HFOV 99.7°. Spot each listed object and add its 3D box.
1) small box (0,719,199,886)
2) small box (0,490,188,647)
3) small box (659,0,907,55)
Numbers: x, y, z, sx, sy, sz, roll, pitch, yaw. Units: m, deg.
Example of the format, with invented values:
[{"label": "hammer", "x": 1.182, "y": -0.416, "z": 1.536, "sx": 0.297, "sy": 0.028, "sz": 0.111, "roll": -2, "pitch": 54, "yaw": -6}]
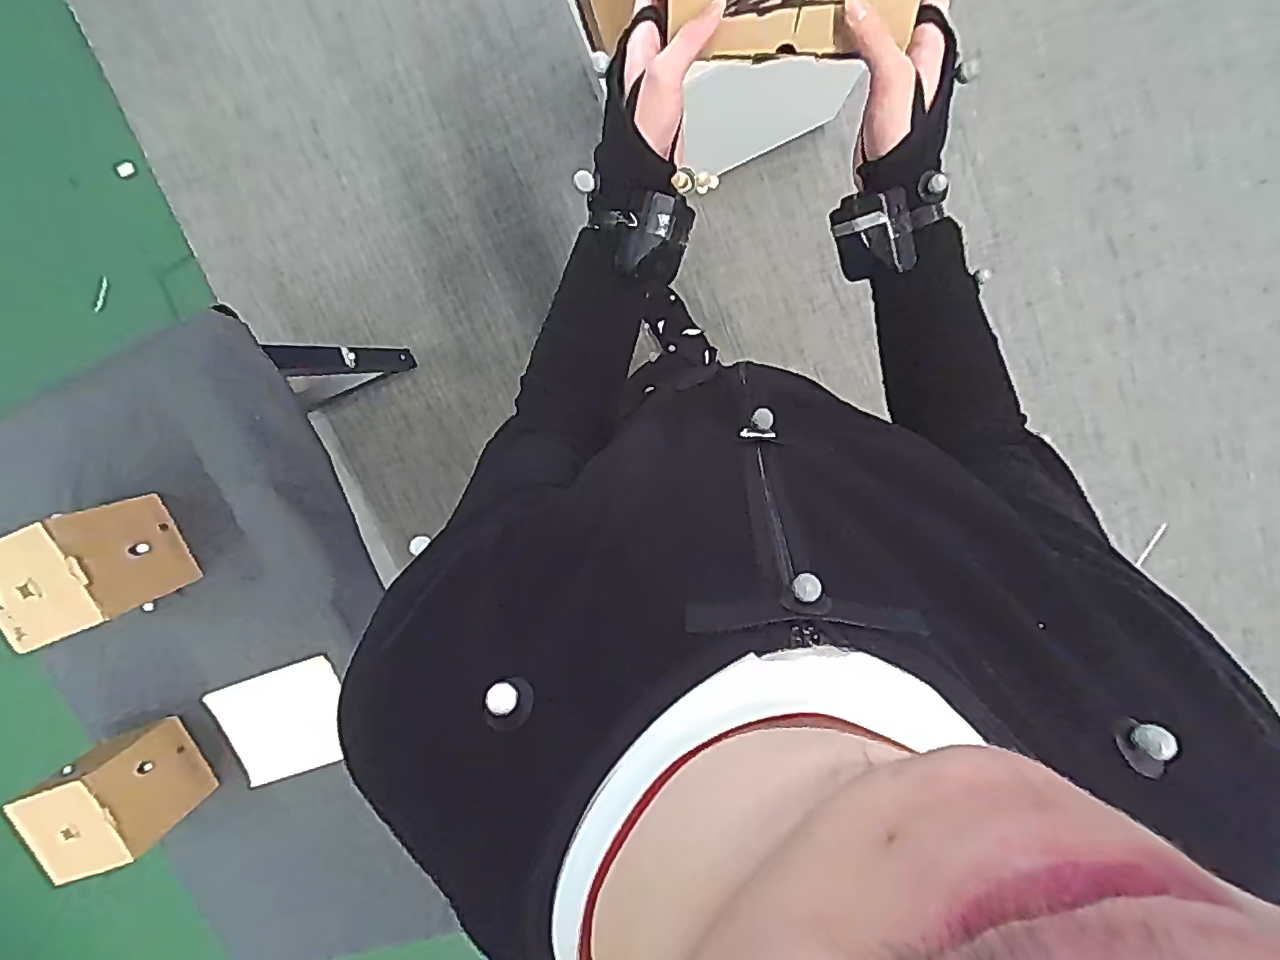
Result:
[{"label": "small box", "x": -0.929, "y": 0.551, "z": 0.945, "sx": 0.179, "sy": 0.176, "sz": 0.168, "roll": -21, "pitch": 99, "yaw": 10}, {"label": "small box", "x": -0.877, "y": 0.130, "z": 0.859, "sx": 0.179, "sy": 0.176, "sz": 0.168, "roll": -20, "pitch": 100, "yaw": 8}, {"label": "small box", "x": 0.103, "y": -0.417, "z": 0.373, "sx": 0.168, "sy": 0.176, "sz": 0.179, "roll": 3, "pitch": 135, "yaw": 4}]
